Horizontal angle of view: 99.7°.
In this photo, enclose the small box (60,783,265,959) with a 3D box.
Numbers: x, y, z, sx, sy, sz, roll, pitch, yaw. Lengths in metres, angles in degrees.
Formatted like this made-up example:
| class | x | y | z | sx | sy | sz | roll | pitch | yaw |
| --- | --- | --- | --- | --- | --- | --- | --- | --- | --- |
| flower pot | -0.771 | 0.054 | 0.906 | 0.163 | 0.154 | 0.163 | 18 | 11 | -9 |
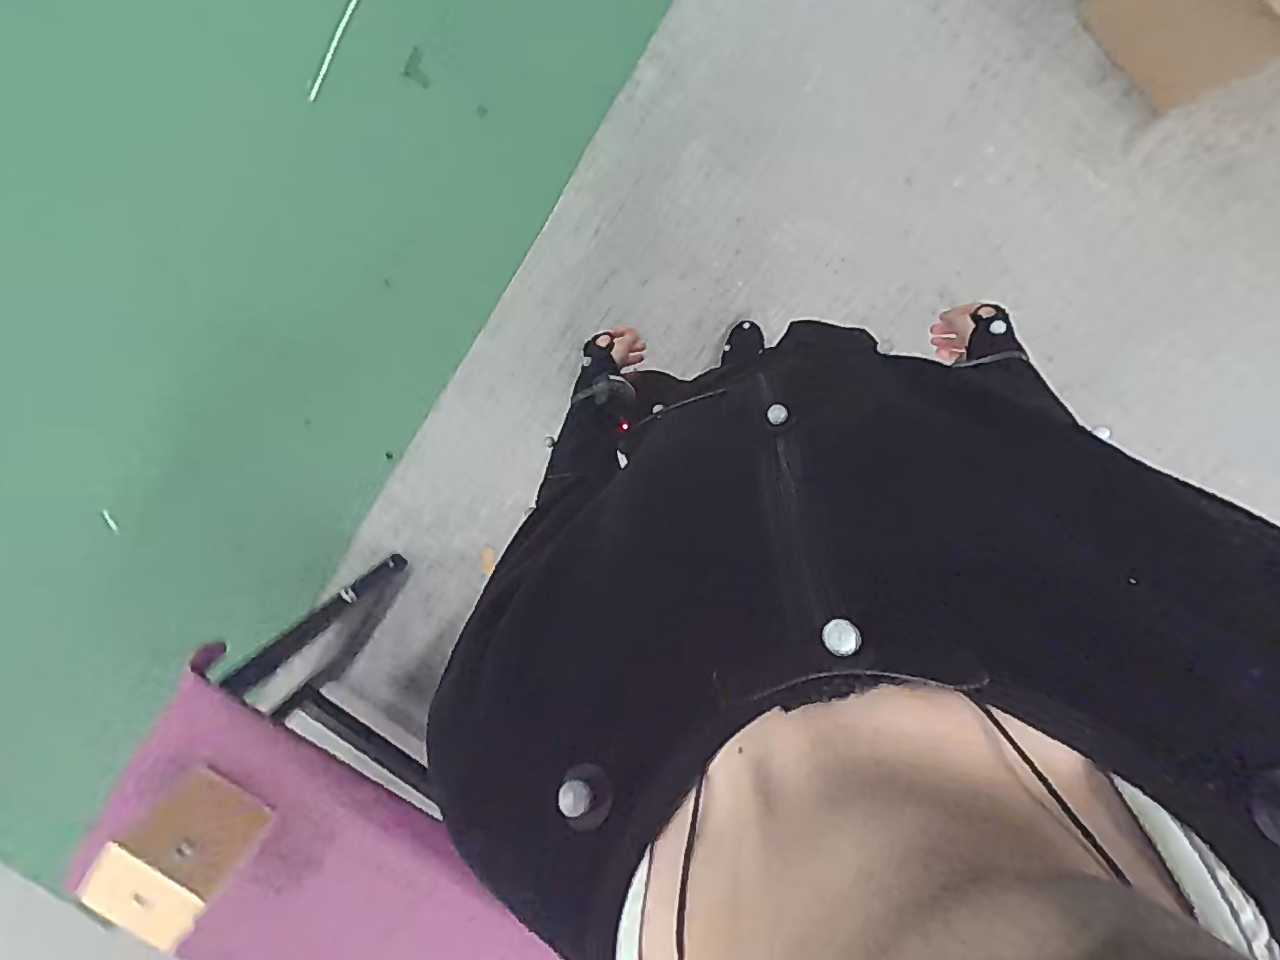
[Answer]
| class | x | y | z | sx | sy | sz | roll | pitch | yaw |
| --- | --- | --- | --- | --- | --- | --- | --- | --- | --- |
| small box | -0.796 | 0.664 | 0.920 | 0.179 | 0.176 | 0.168 | 38 | 105 | -5 |
